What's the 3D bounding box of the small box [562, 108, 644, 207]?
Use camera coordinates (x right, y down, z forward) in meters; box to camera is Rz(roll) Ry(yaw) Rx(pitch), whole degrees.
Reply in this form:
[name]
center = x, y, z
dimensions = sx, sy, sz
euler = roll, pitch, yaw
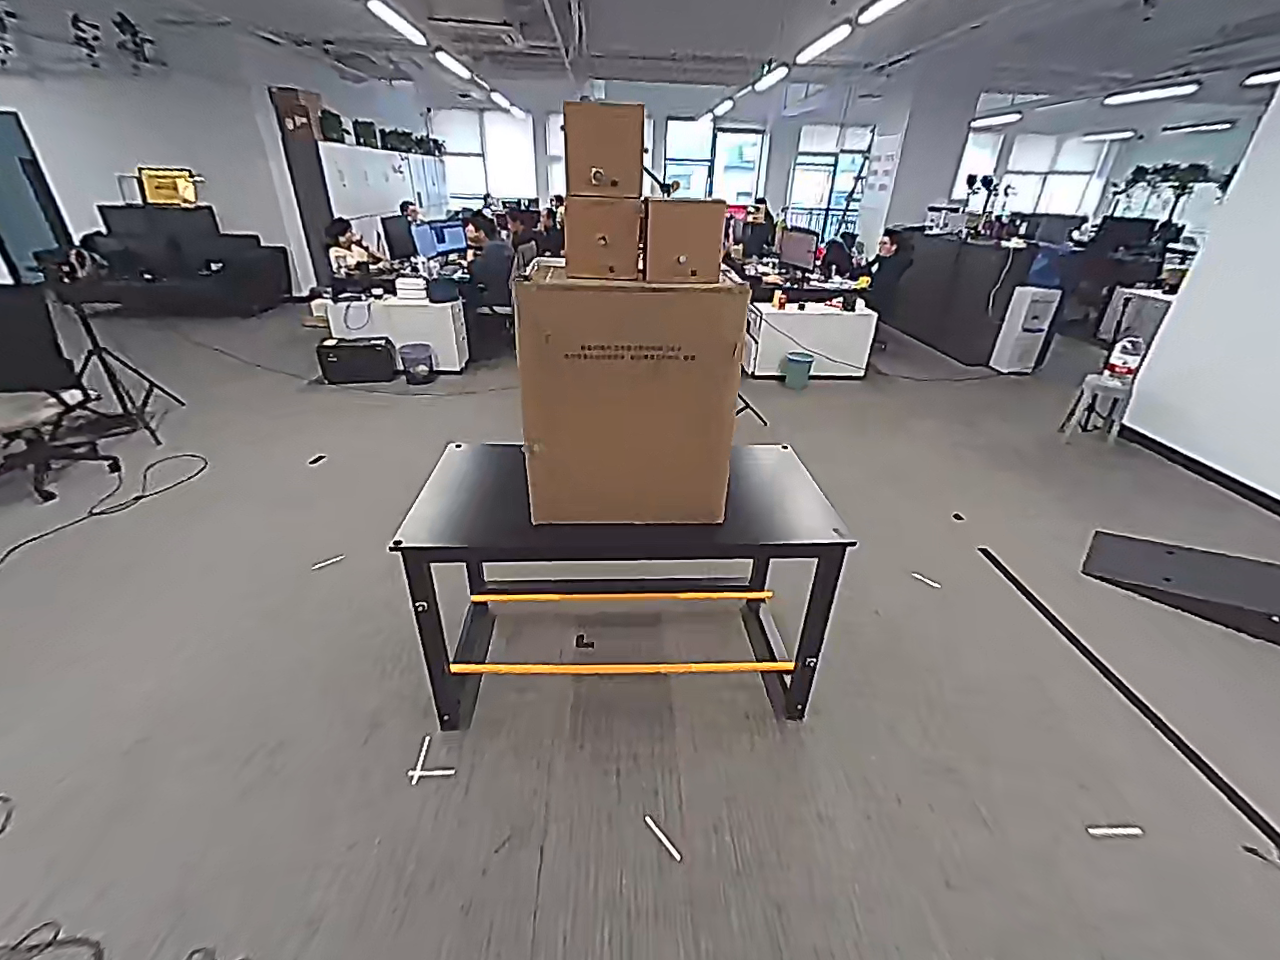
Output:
[small box]
center = -0.079, -0.702, 1.183
dimensions = 0.168, 0.176, 0.179
euler = -1, 31, -3
